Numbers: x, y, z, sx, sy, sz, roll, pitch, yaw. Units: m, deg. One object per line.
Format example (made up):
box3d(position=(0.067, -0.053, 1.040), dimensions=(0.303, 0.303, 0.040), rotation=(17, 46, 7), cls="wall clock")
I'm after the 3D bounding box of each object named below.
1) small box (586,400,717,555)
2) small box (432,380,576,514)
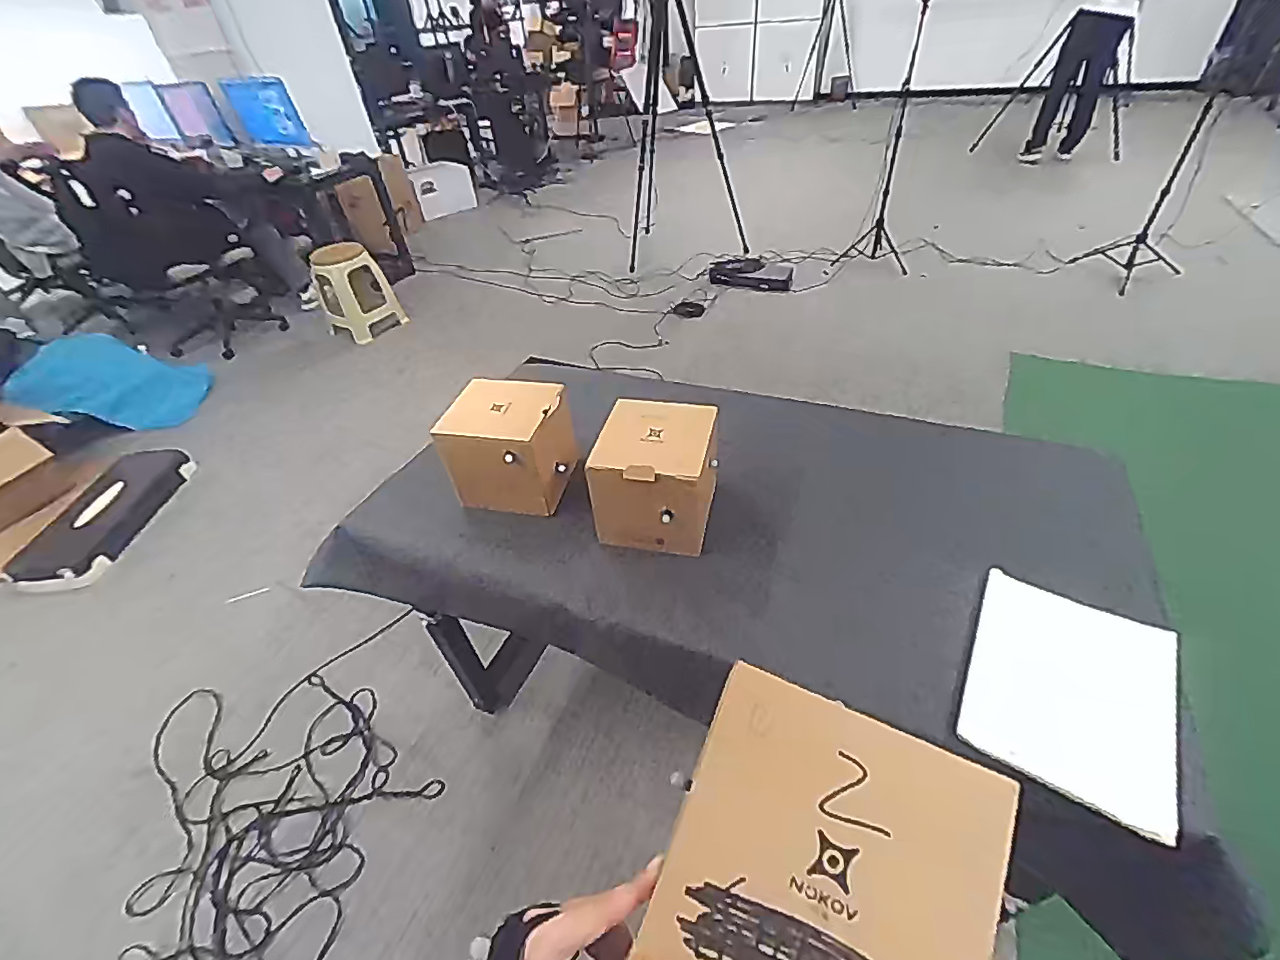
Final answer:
box3d(position=(0.027, -0.004, 0.858), dimensions=(0.168, 0.176, 0.179), rotation=(7, 42, 13), cls="small box")
box3d(position=(-0.225, -0.058, 0.947), dimensions=(0.179, 0.176, 0.168), rotation=(6, 42, 11), cls="small box")
